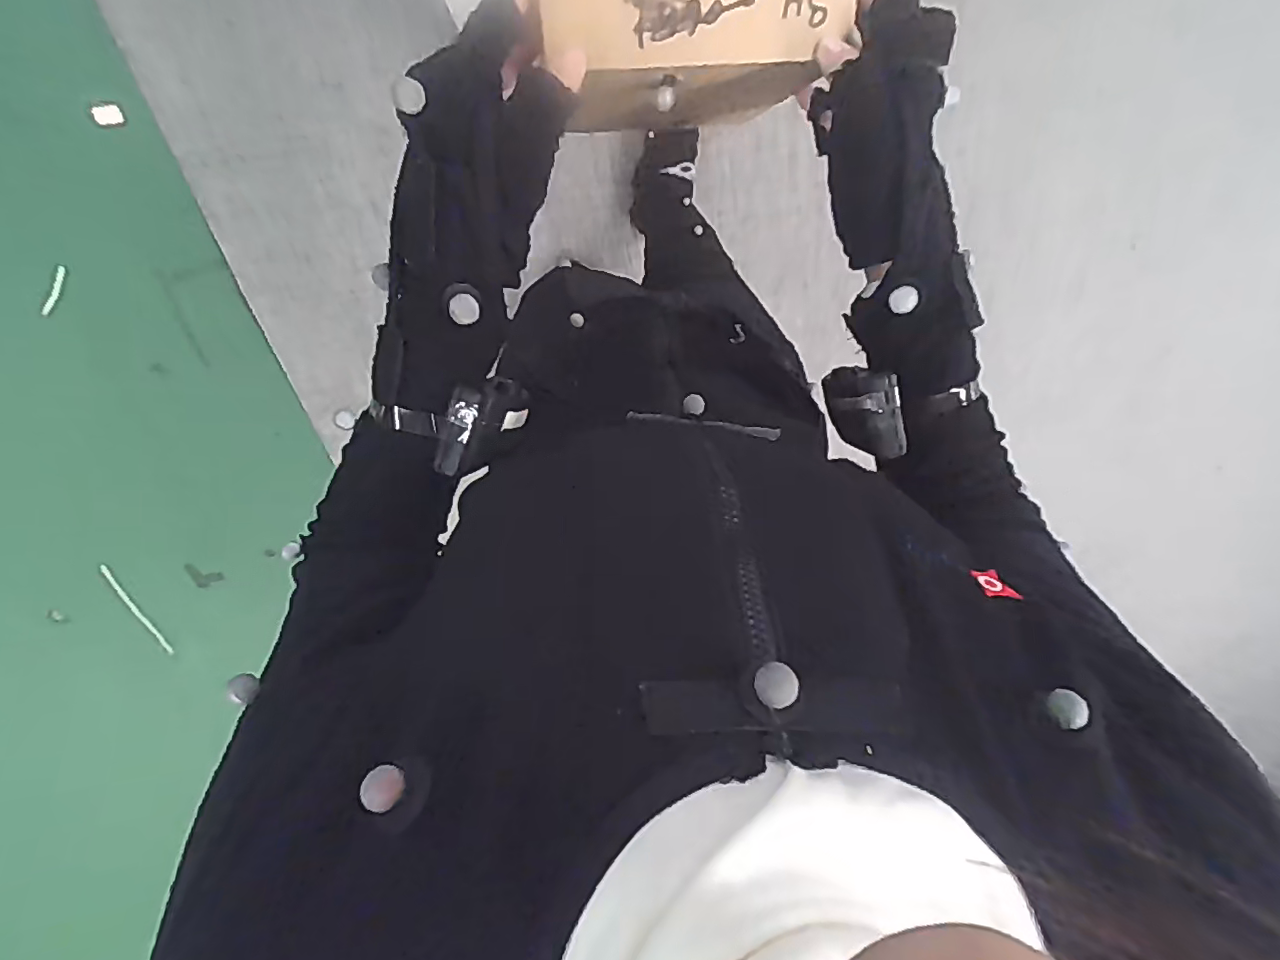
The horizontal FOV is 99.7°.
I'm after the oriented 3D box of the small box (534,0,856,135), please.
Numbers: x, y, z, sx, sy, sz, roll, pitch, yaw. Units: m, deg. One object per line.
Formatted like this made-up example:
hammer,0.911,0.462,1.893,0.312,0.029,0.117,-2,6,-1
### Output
small box,0.017,-0.328,0.325,0.168,0.176,0.179,-7,115,-6
